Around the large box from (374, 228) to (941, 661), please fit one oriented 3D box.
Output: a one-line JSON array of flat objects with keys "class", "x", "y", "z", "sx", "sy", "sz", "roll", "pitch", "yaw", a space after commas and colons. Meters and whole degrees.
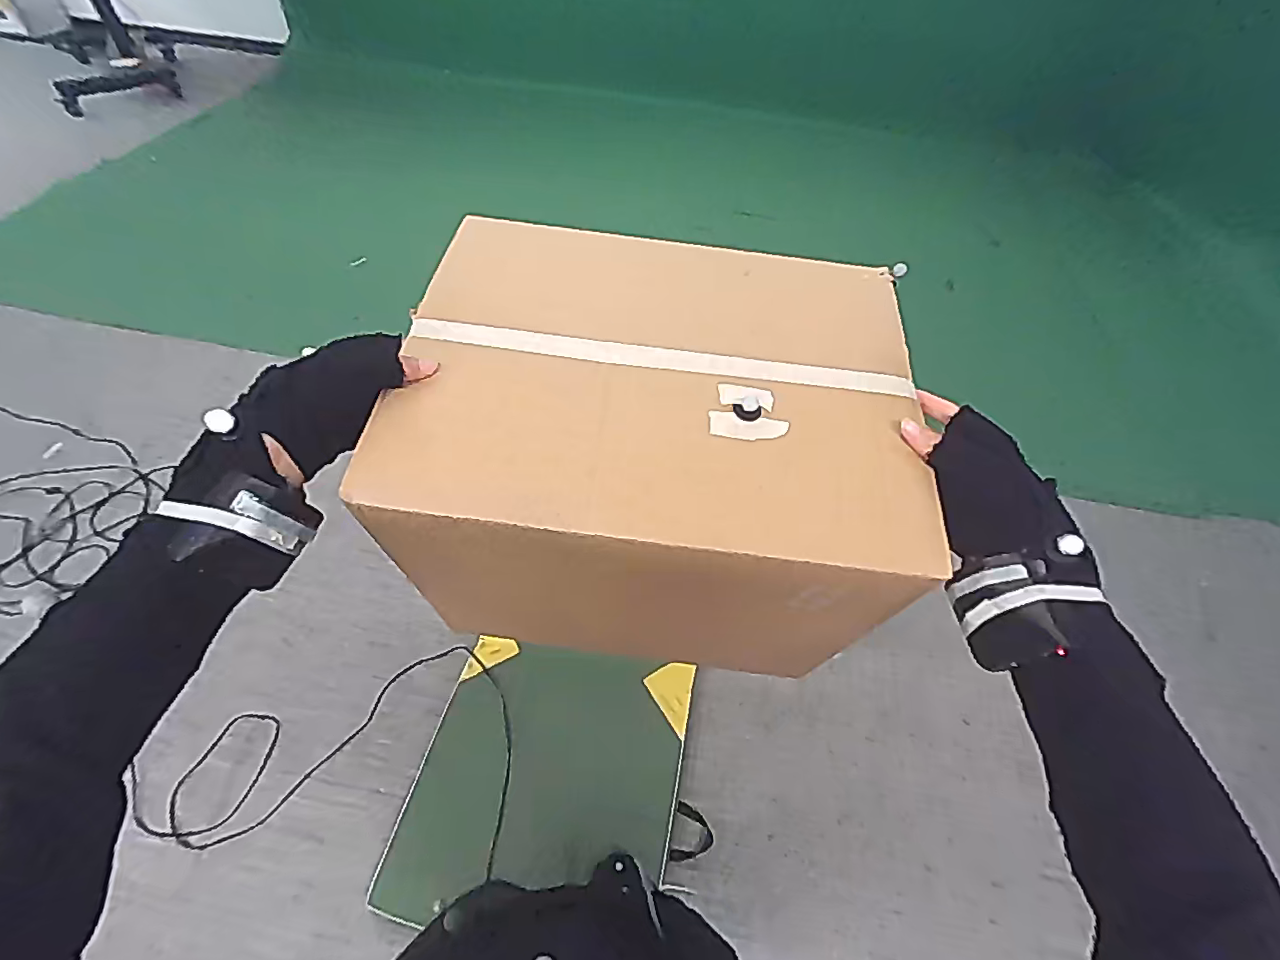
[{"class": "large box", "x": 0.014, "y": -0.017, "z": 0.573, "sx": 0.408, "sy": 0.320, "sz": 0.320, "roll": 7, "pitch": 59, "yaw": -1}]
